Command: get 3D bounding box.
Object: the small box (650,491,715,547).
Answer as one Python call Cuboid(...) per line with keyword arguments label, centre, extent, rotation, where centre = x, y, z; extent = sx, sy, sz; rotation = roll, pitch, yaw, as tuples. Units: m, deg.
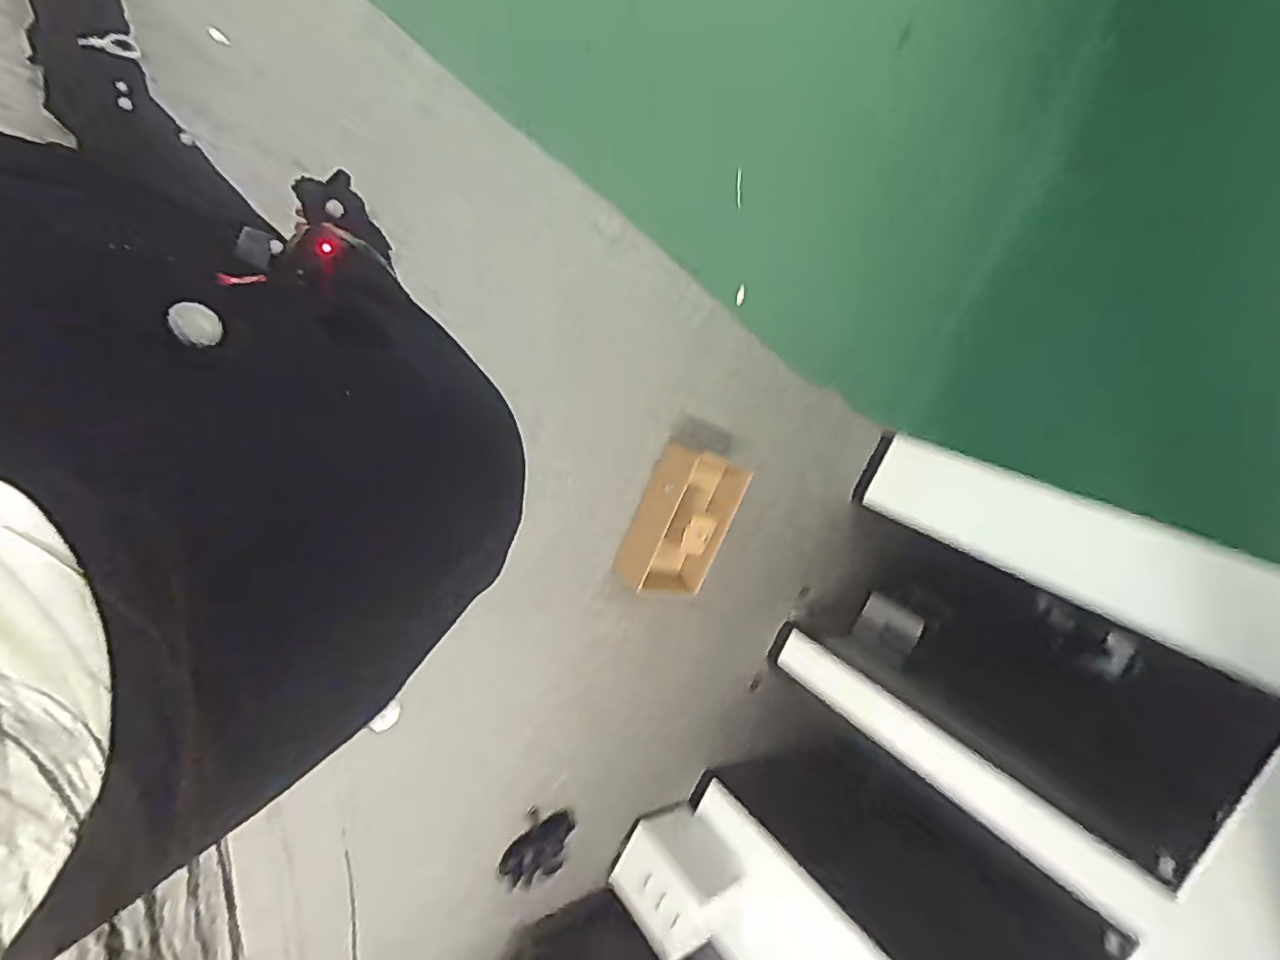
Cuboid(label="small box", centre=(0.173, 0.160, 2.245), extent=(0.179, 0.176, 0.168), rotation=(17, 100, -48))
